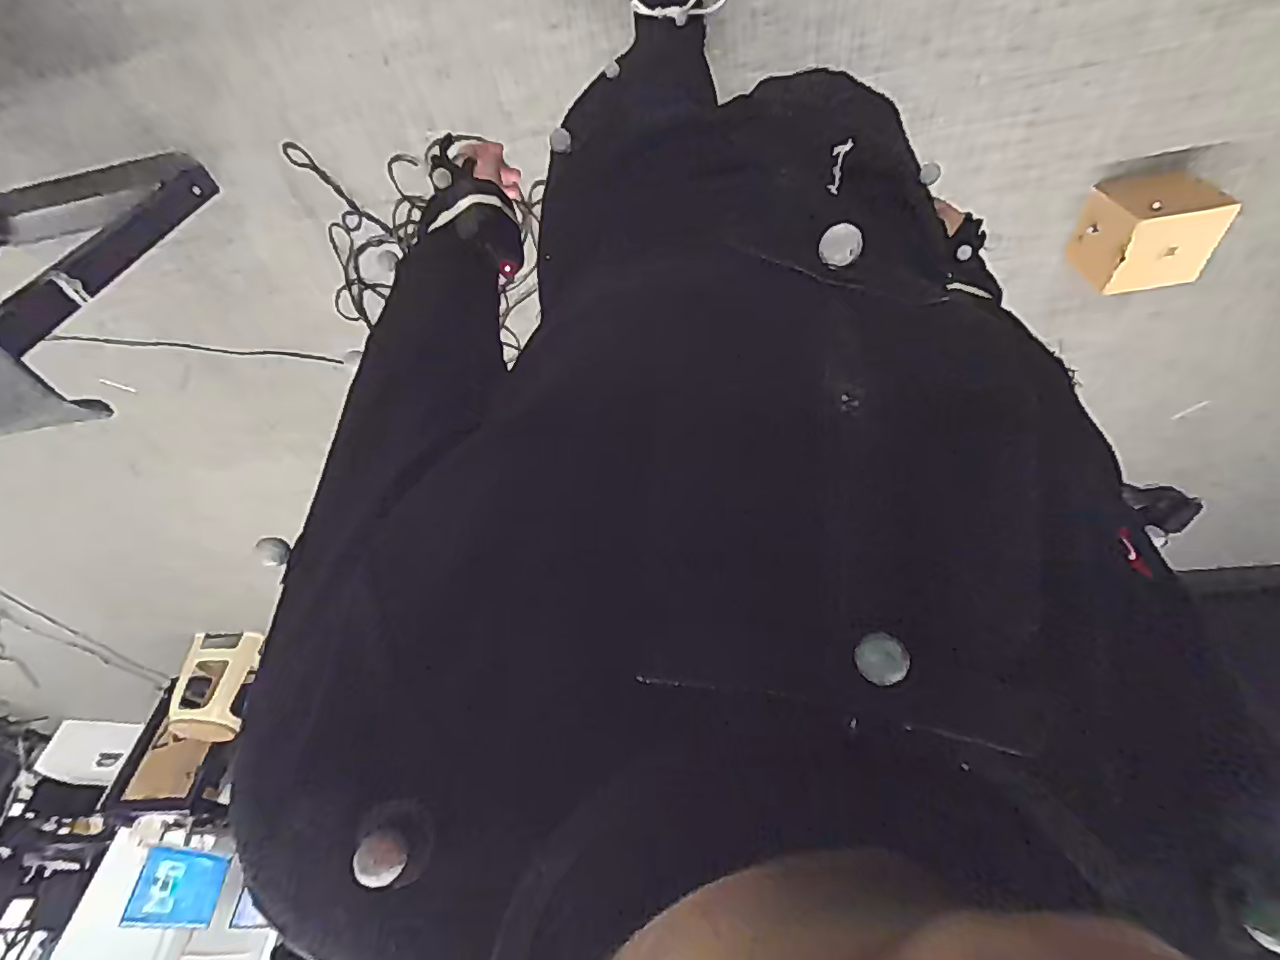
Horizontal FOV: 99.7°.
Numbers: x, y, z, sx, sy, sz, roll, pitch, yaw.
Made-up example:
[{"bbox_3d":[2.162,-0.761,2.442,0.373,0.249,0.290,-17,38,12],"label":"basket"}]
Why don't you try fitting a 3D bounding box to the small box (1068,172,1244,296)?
[{"bbox_3d":[1.056,-0.515,1.128,0.179,0.176,0.168,-7,140,9],"label":"small box"}]
